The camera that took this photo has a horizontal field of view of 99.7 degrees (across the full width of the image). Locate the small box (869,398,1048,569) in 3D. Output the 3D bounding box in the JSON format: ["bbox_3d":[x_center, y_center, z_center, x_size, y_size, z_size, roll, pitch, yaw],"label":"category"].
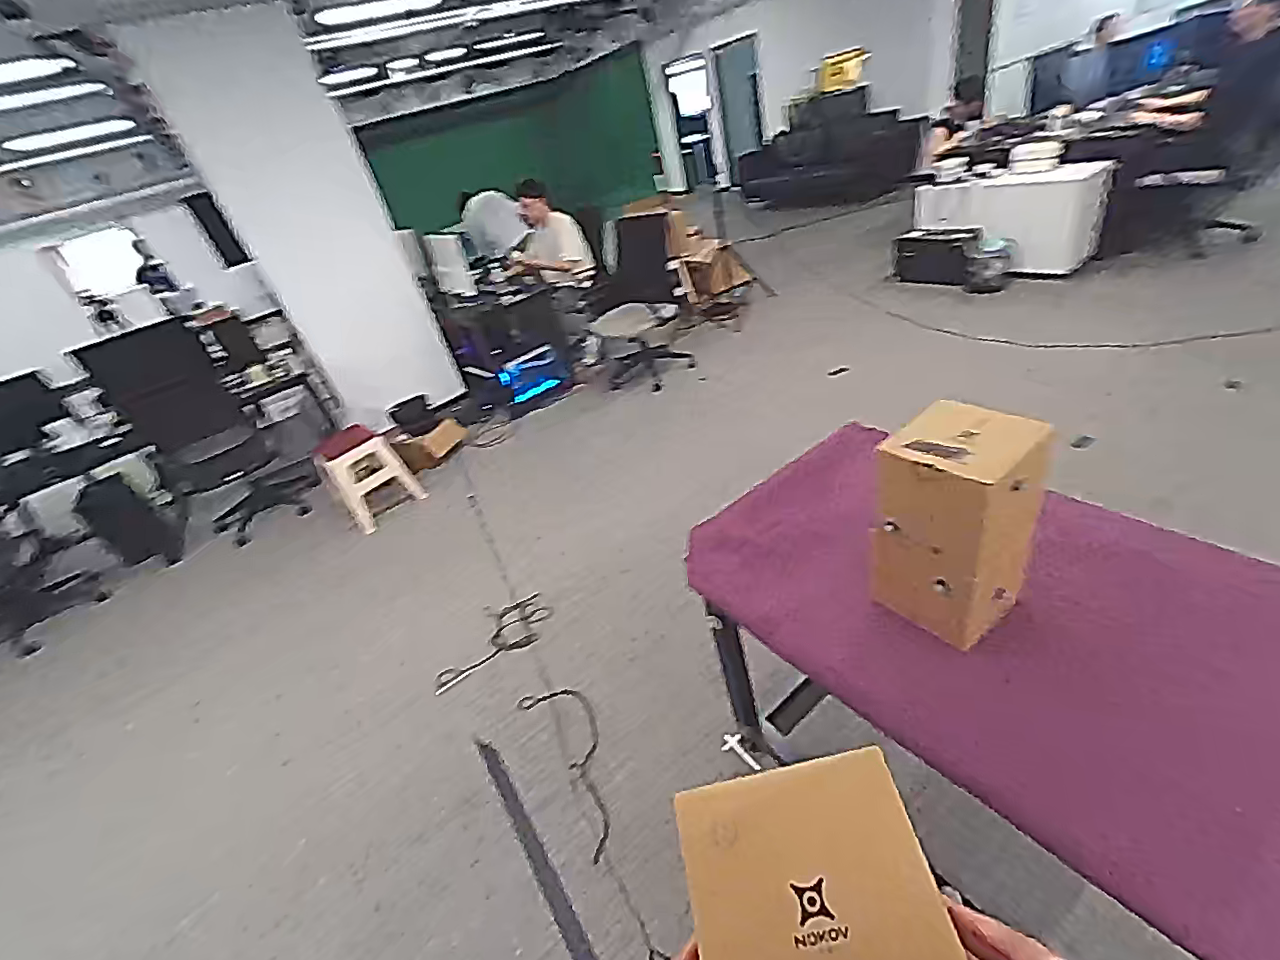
[{"bbox_3d":[0.473,0.003,0.819,0.179,0.176,0.168,-32,37,-23],"label":"small box"}]

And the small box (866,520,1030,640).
[{"bbox_3d":[0.506,0.138,0.907,0.168,0.176,0.179,-31,36,-22],"label":"small box"}]
